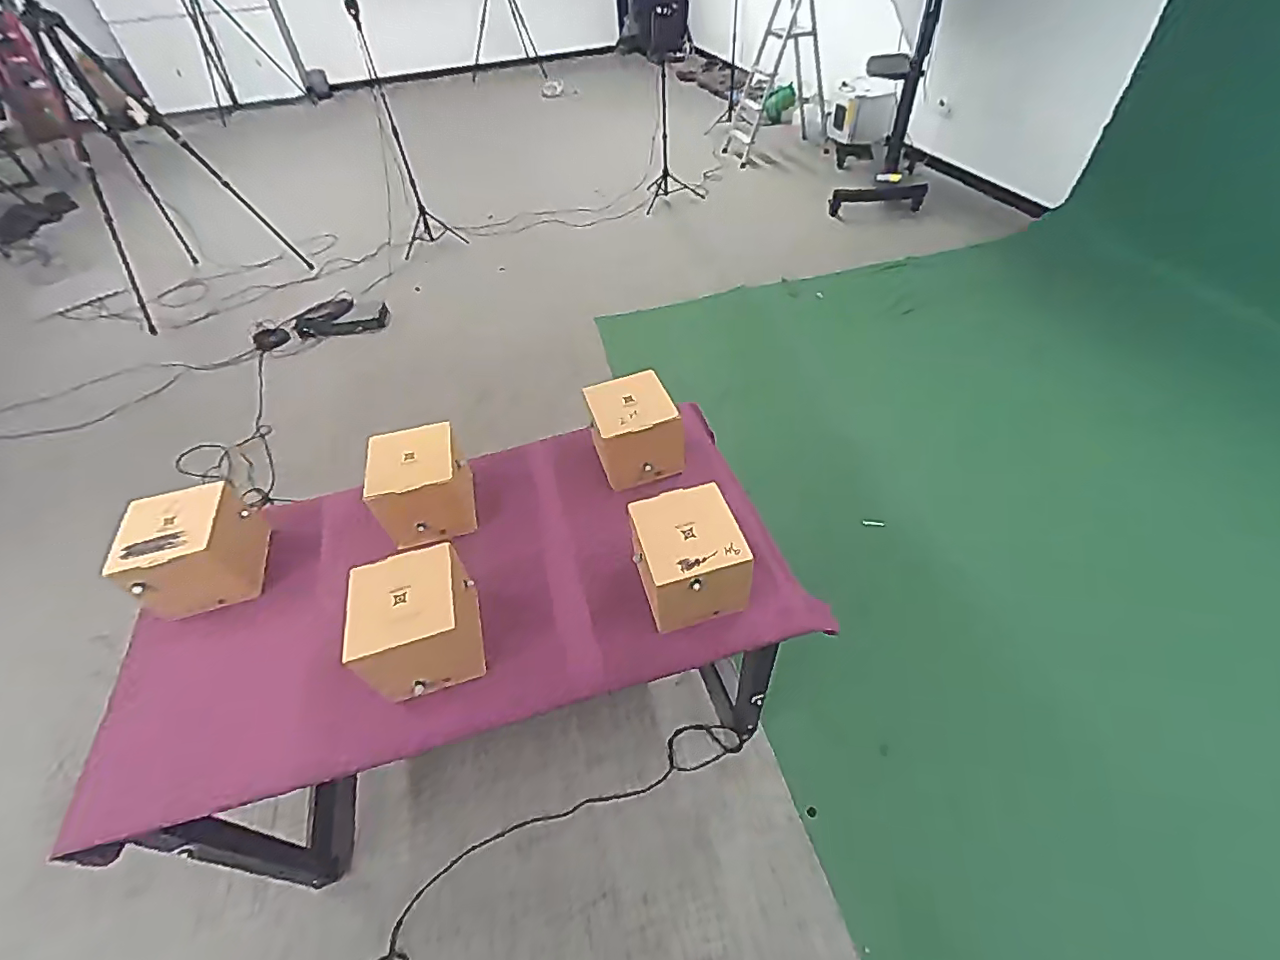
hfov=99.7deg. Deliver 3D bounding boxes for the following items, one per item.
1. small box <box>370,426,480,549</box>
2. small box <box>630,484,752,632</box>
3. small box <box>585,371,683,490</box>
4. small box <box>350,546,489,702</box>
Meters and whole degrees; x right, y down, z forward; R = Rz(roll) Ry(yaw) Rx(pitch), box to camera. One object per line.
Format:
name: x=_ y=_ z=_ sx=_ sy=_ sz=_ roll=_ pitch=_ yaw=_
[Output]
small box: x=-0.446 y=0.017 z=1.143 sx=0.168 sy=0.176 sz=0.179 roll=-14 pitch=50 yaw=-7
small box: x=0.086 y=0.140 z=0.966 sx=0.168 sy=0.176 sz=0.179 roll=-15 pitch=49 yaw=-6
small box: x=-0.011 y=-0.109 z=1.200 sx=0.168 sy=0.176 sz=0.179 roll=-18 pitch=50 yaw=-6
small box: x=-0.368 y=0.247 z=0.925 sx=0.168 sy=0.176 sz=0.179 roll=-16 pitch=48 yaw=-7
